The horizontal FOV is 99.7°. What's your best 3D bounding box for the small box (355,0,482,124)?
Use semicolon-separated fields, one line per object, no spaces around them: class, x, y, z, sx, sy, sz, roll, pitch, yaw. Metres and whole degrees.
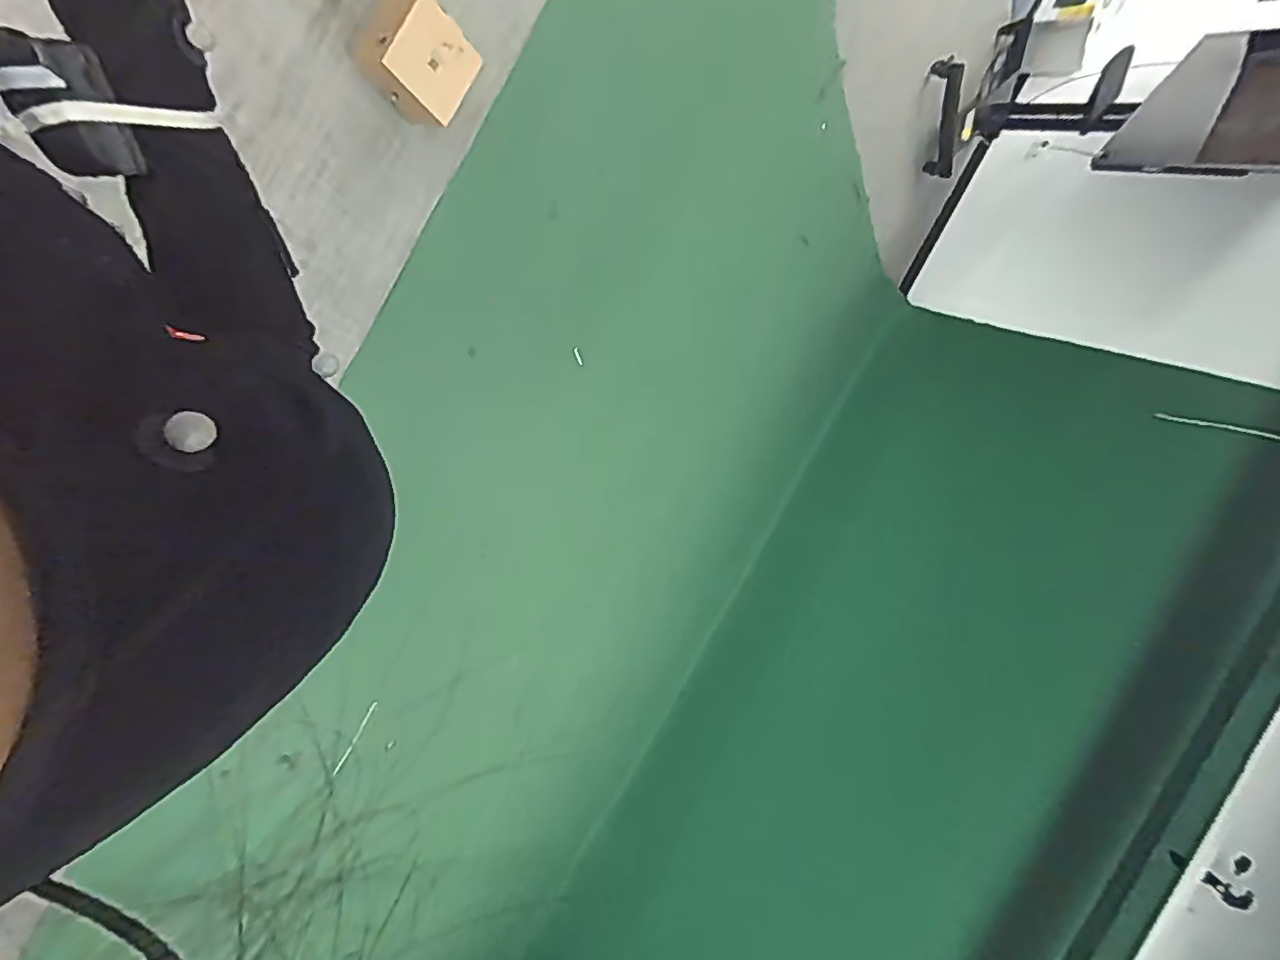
small box;-0.488;-0.919;1.181;0.179;0.176;0.168;-60;146;0
